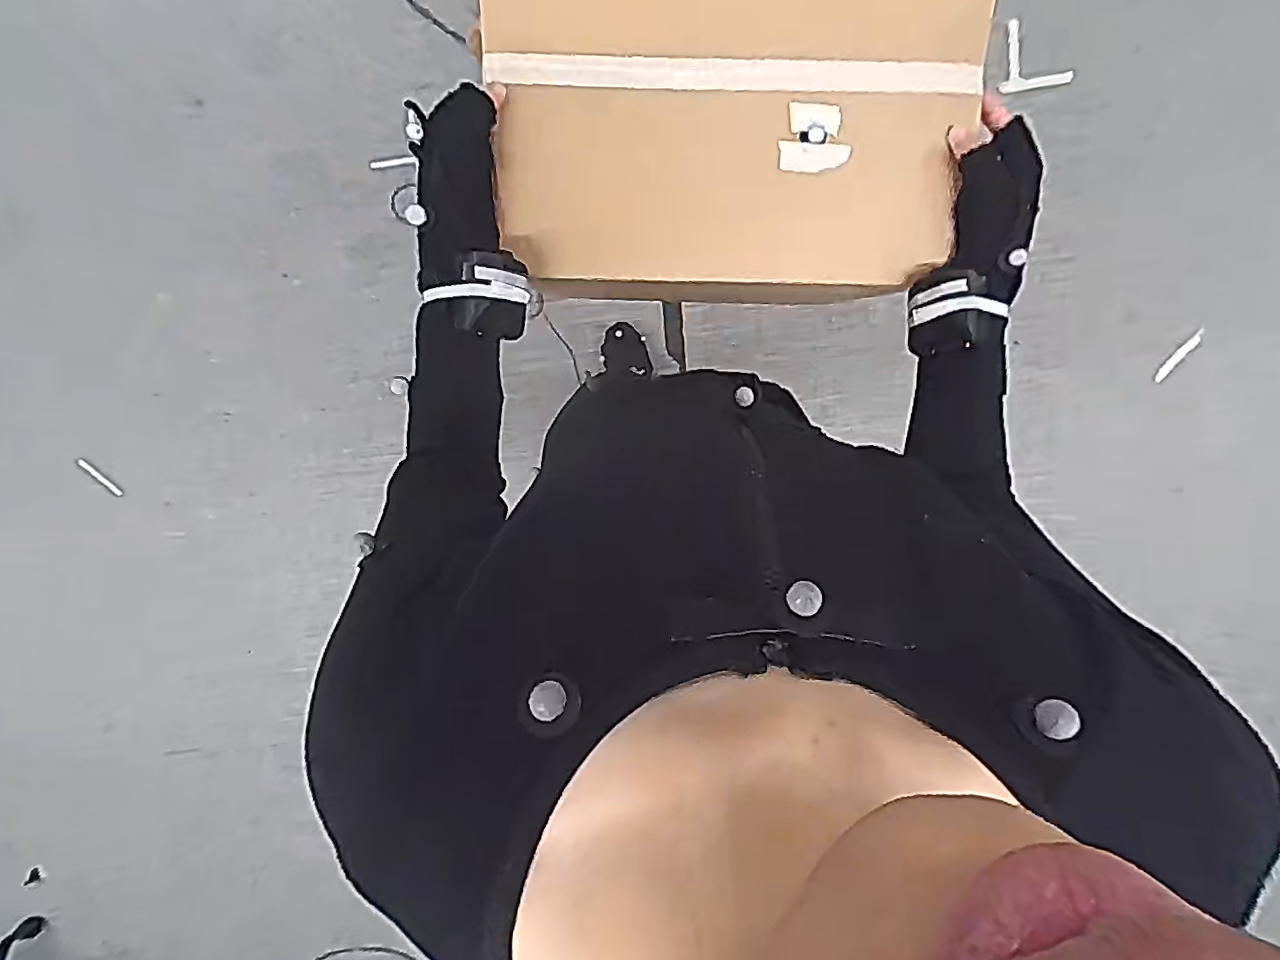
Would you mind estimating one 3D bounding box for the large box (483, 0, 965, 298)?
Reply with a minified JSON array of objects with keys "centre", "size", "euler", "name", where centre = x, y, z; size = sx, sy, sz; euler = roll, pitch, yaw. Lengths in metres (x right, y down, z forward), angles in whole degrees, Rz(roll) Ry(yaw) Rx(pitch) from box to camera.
[{"centre":[0.065,-0.379,0.602],"size":[0.408,0.320,0.320],"euler":[-1,106,-2],"name":"large box"}]
